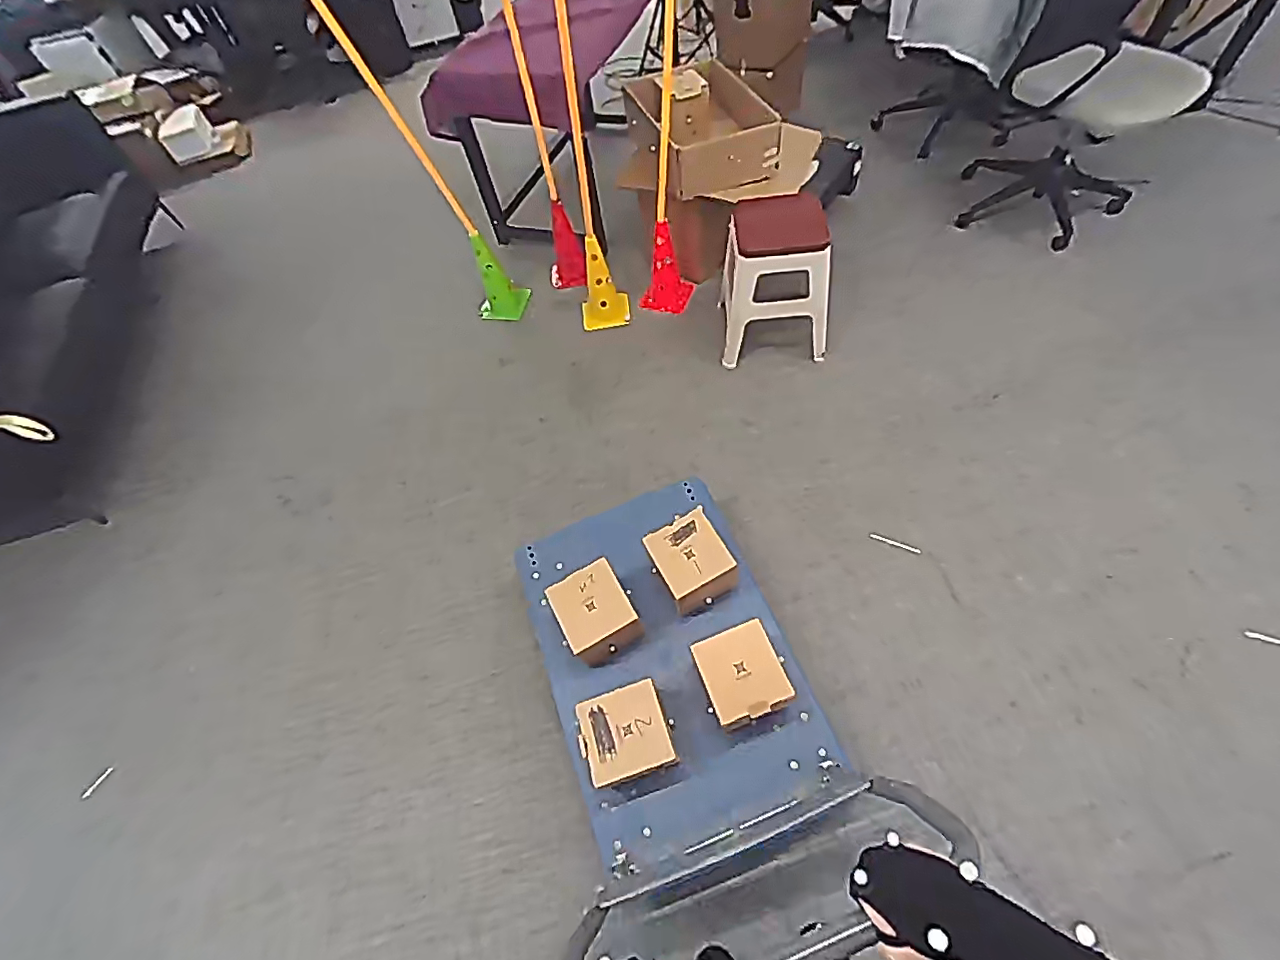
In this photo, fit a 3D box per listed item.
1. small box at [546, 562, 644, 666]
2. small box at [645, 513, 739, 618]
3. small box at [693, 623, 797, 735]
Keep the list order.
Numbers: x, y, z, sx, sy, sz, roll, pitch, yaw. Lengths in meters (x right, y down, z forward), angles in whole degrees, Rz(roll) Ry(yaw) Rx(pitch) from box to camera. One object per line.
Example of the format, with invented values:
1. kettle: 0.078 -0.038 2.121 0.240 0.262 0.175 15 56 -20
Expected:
1. small box: -0.103 0.335 1.317 0.168 0.176 0.179 -28 62 -8
2. small box: 0.128 0.218 1.348 0.168 0.176 0.179 -28 62 -7
3. small box: 0.227 0.449 1.210 0.168 0.176 0.179 -22 61 -4
